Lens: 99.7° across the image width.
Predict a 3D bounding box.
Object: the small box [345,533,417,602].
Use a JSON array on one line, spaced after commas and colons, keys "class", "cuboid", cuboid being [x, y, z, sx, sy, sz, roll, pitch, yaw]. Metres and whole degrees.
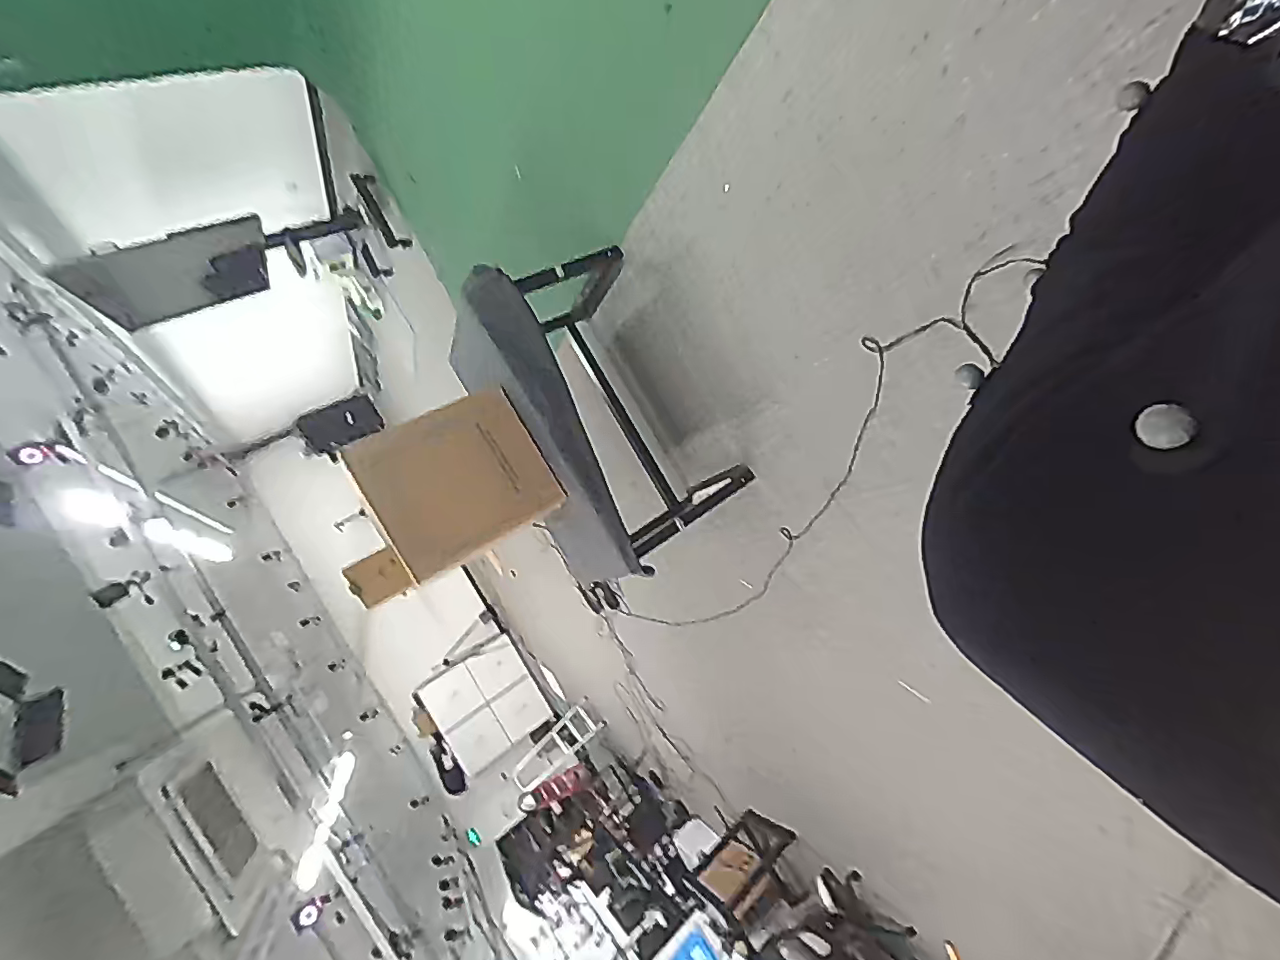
[{"class": "small box", "cuboid": [-0.904, 0.306, 1.900, 0.168, 0.176, 0.179, 55, 151, 2]}]
